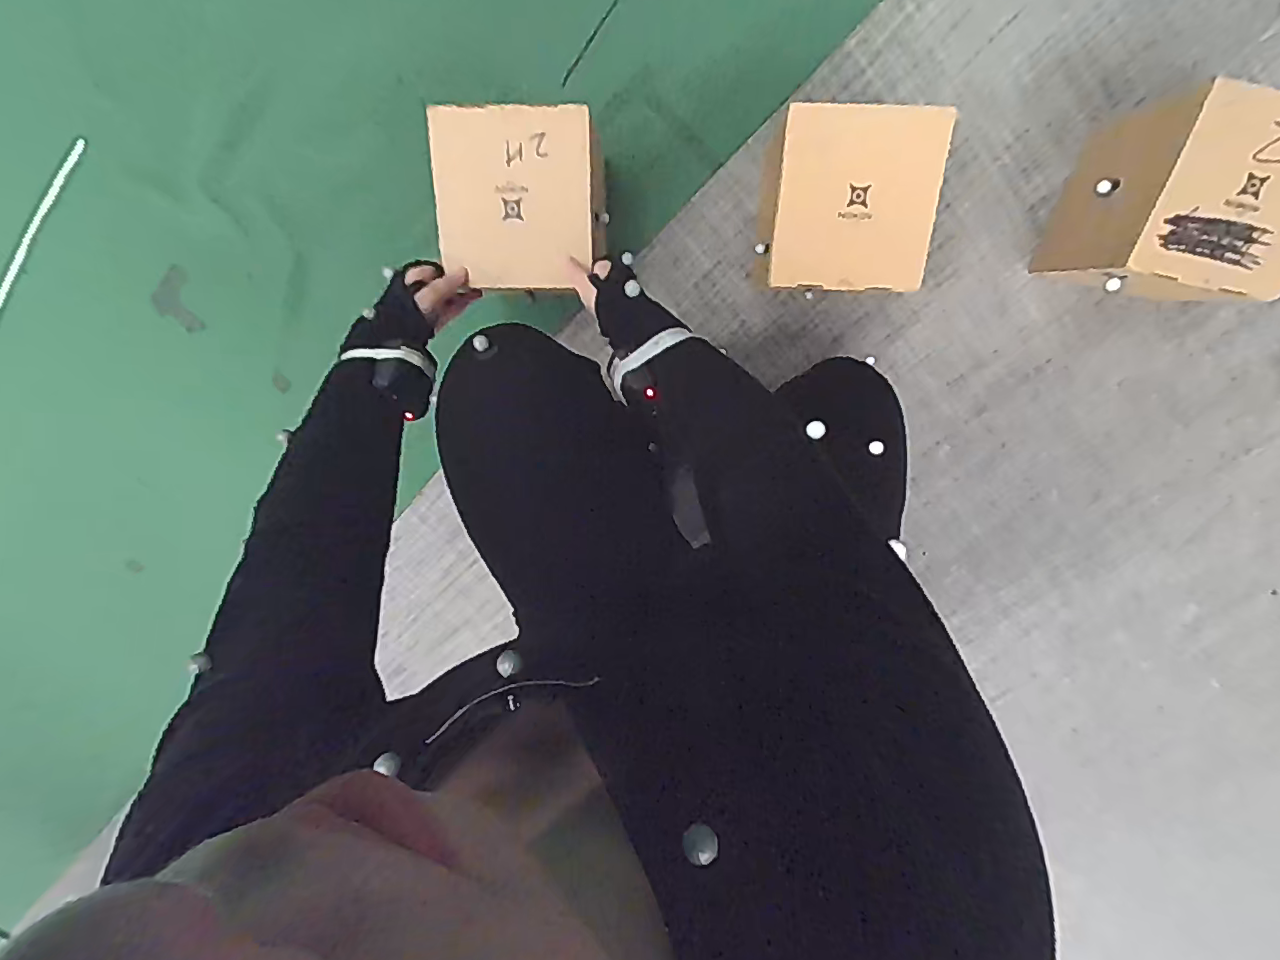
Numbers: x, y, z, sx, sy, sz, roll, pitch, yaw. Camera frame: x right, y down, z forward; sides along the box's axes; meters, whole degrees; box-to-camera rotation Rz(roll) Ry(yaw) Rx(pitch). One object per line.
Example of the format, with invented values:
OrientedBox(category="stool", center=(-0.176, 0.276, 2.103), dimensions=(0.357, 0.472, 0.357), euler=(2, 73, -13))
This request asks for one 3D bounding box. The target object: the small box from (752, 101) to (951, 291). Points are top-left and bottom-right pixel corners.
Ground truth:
OrientedBox(category="small box", center=(0.232, -0.322, 0.644), dimensions=(0.168, 0.176, 0.179), euler=(3, 110, 3))

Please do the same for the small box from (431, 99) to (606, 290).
OrientedBox(category="small box", center=(-0.128, -0.320, 0.641), dimensions=(0.168, 0.176, 0.179), euler=(1, 107, 1))
